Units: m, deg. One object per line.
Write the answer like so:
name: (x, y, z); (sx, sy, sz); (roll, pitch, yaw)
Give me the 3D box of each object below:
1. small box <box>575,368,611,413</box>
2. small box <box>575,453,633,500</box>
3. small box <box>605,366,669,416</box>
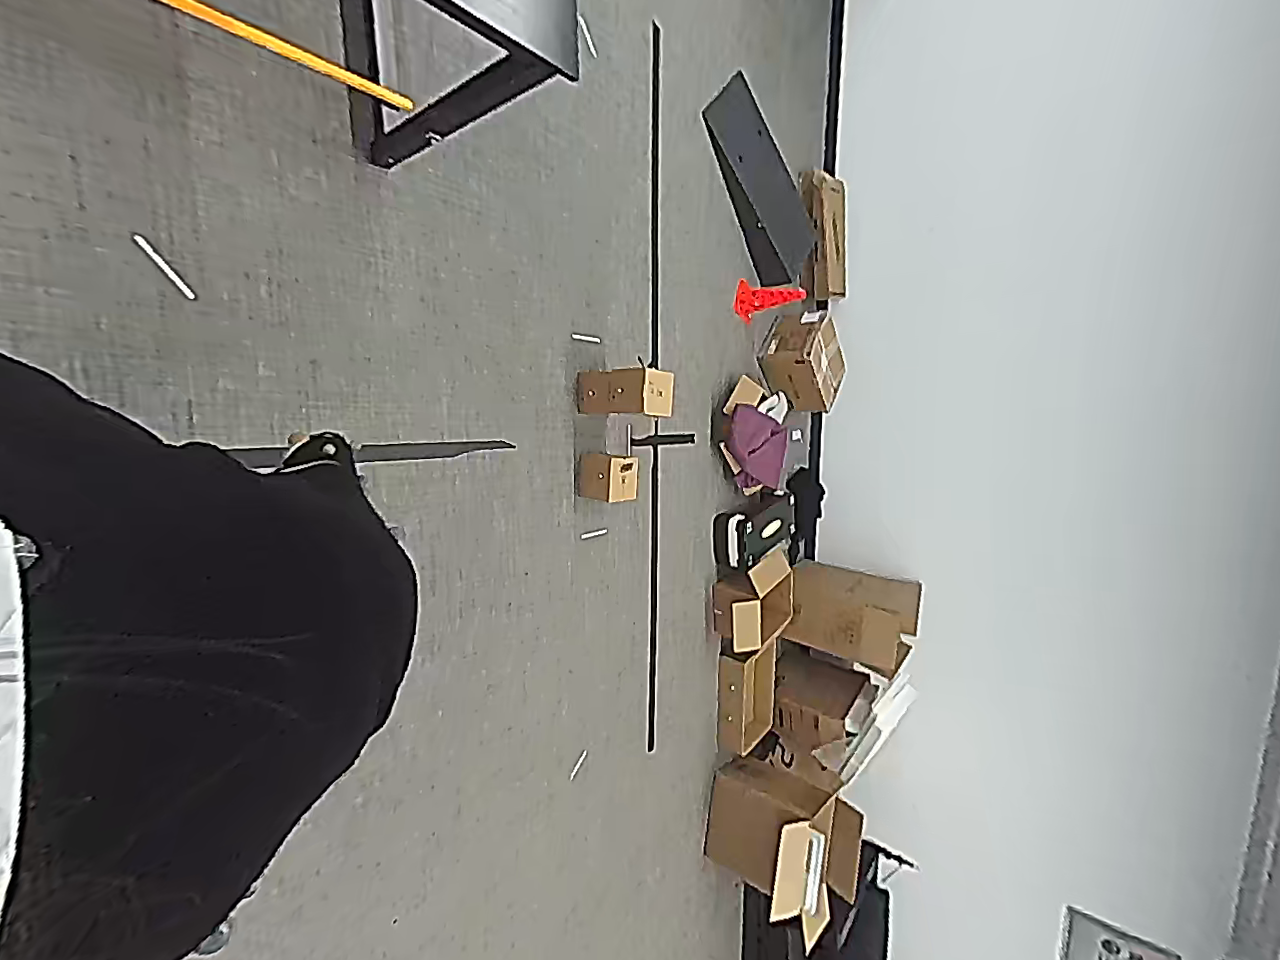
small box: (-0.143, -0.350, 2.137); (0.179, 0.176, 0.168); (-10, 103, -50)
small box: (-0.147, -0.019, 2.187); (0.168, 0.176, 0.179); (-5, 100, -51)
small box: (-0.011, -0.333, 2.037); (0.179, 0.176, 0.168); (-2, 97, -51)
